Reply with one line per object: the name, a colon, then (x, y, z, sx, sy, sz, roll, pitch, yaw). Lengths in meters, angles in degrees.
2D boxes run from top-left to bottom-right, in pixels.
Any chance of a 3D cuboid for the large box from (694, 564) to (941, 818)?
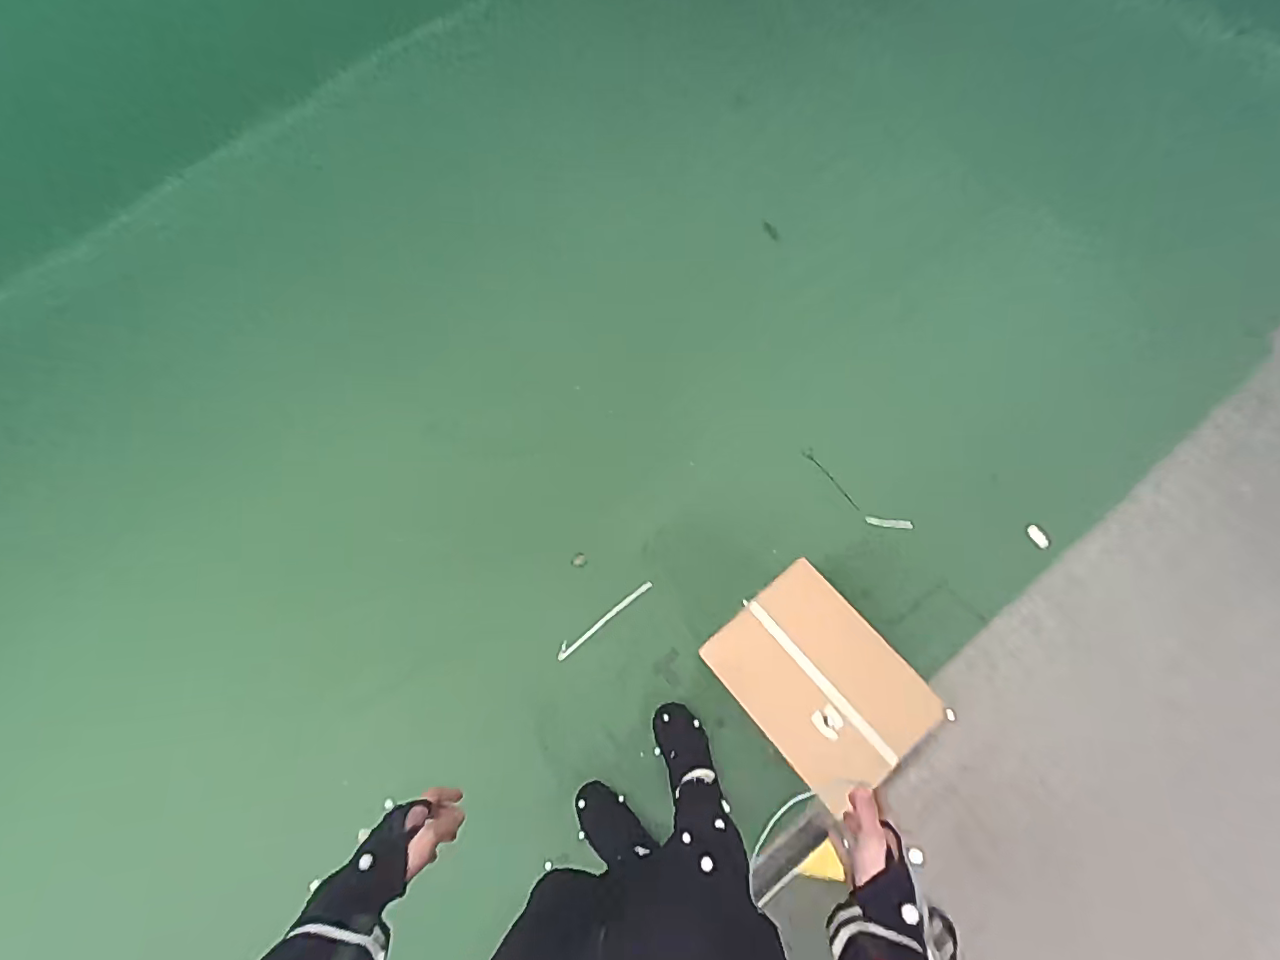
large box: (0.370, 0.462, 1.251, 0.320, 0.320, 0.408, -40, 73, -8)
